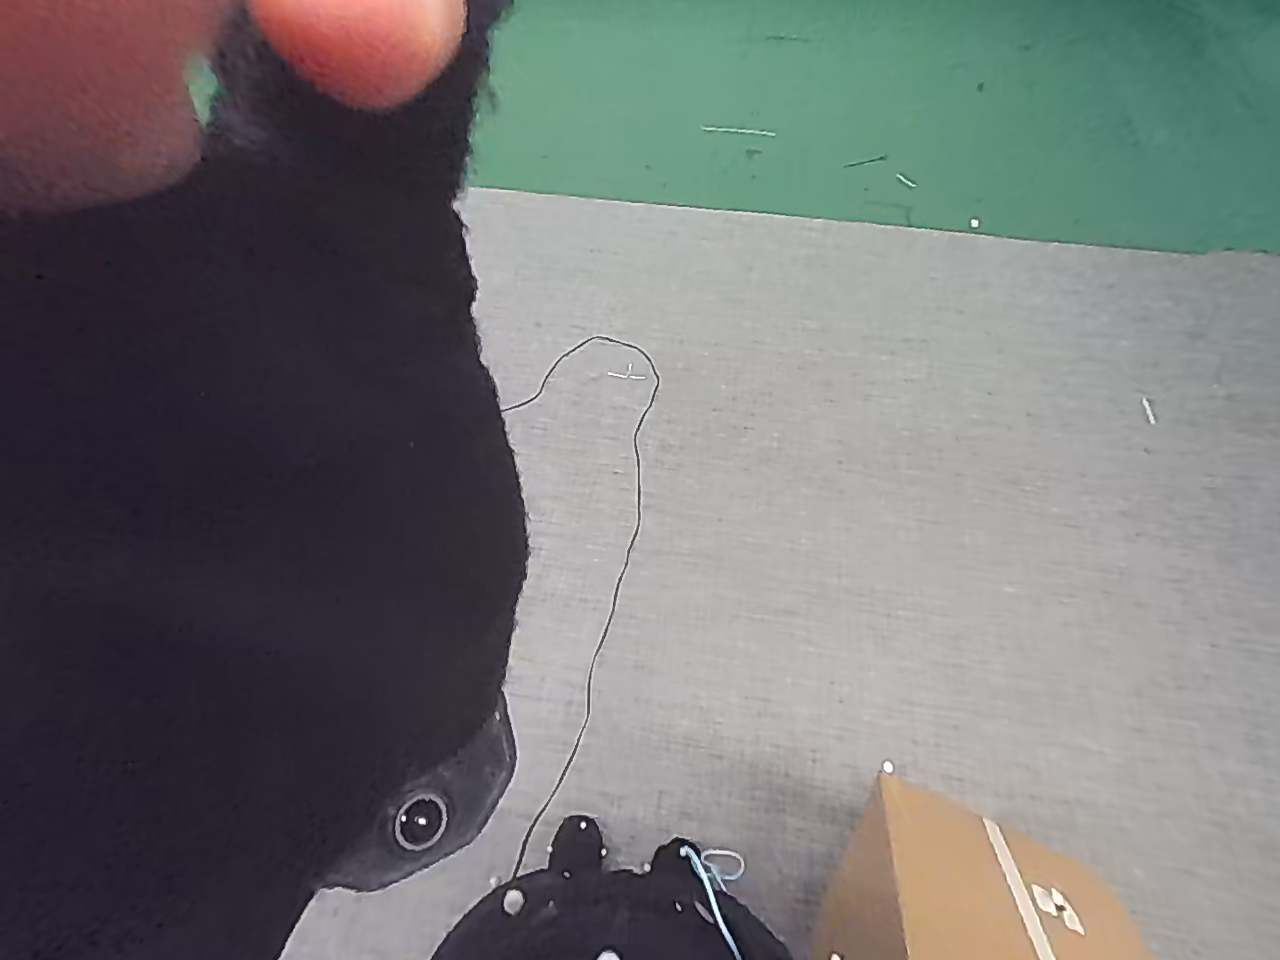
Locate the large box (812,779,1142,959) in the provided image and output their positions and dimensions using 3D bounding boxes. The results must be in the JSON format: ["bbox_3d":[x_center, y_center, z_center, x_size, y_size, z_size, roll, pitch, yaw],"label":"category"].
[{"bbox_3d":[0.406,0.676,0.652,0.320,0.408,0.320,22,99,17],"label":"large box"}]
